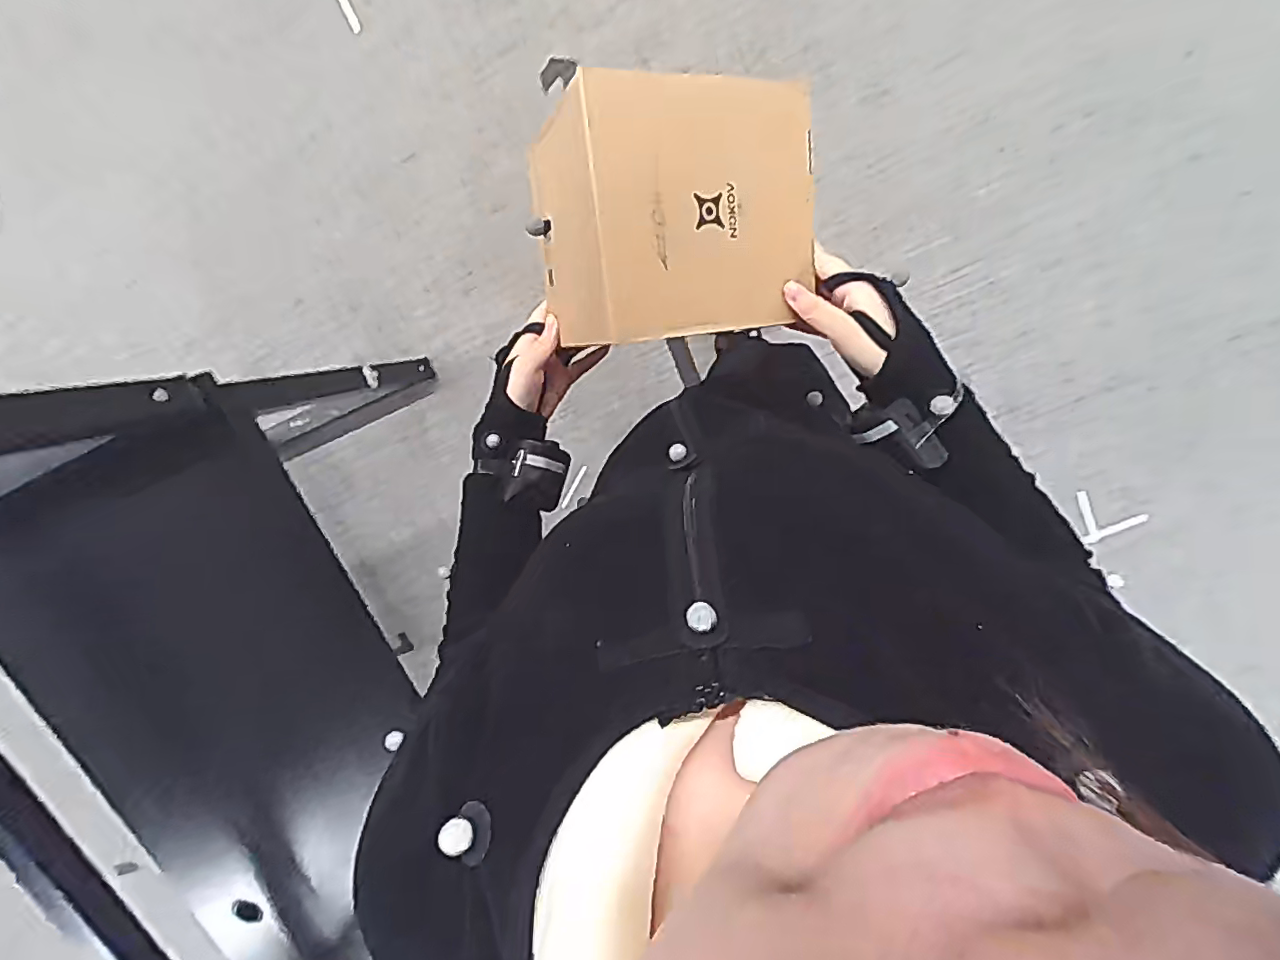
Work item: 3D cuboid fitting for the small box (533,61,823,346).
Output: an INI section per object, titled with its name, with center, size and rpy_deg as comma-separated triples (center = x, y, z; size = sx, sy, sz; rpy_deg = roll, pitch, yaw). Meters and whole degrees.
[small box]
center = 0.025, -0.201, 0.442
size = 0.179, 0.176, 0.168
rpy_deg = -12, 106, -21
